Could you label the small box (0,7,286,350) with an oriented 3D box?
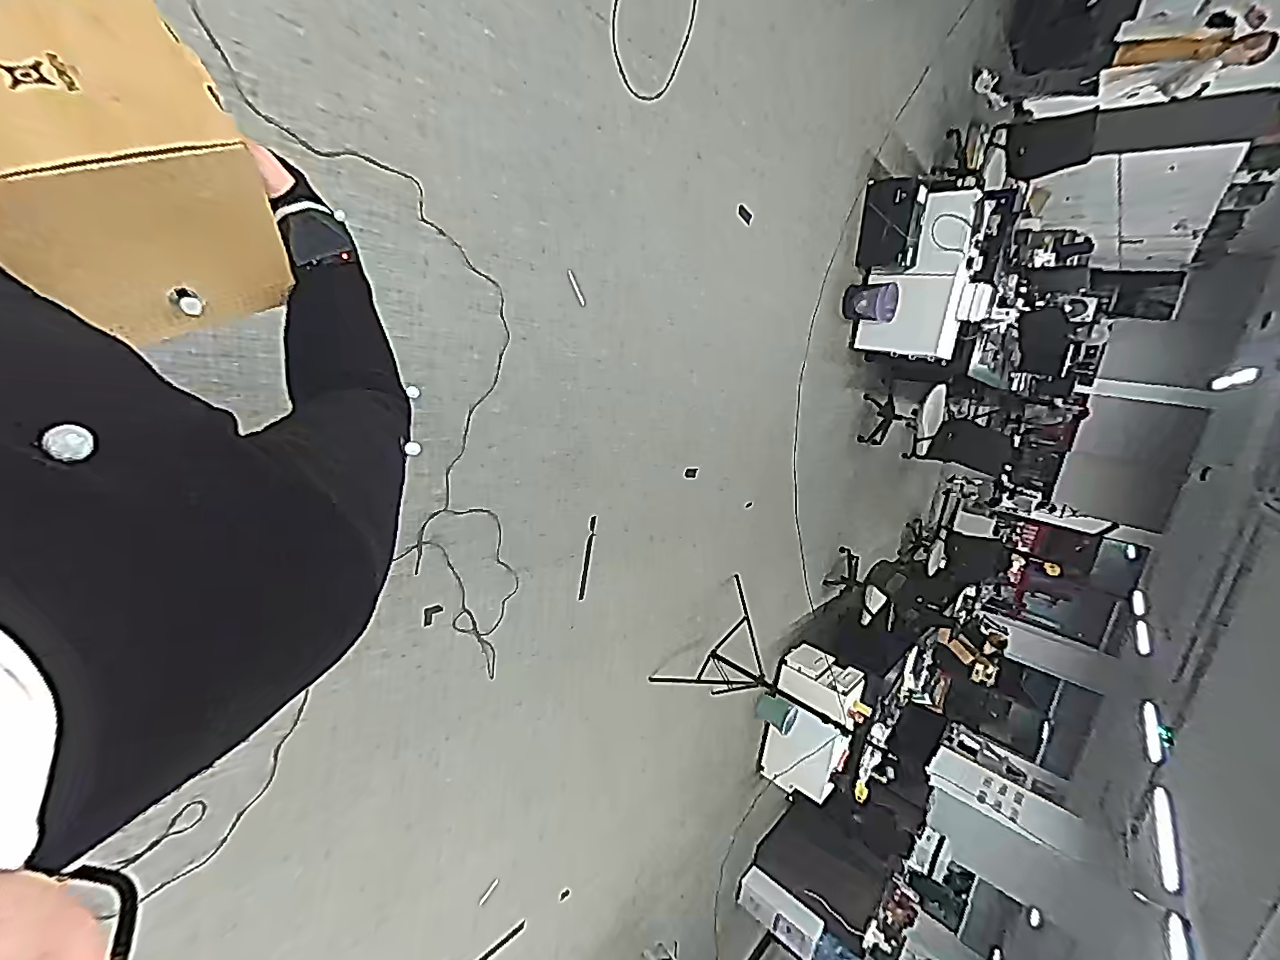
[{"bbox_3d":[-0.426,-0.240,0.447,0.179,0.168,0.176,-32,169,-29],"label":"small box"}]
